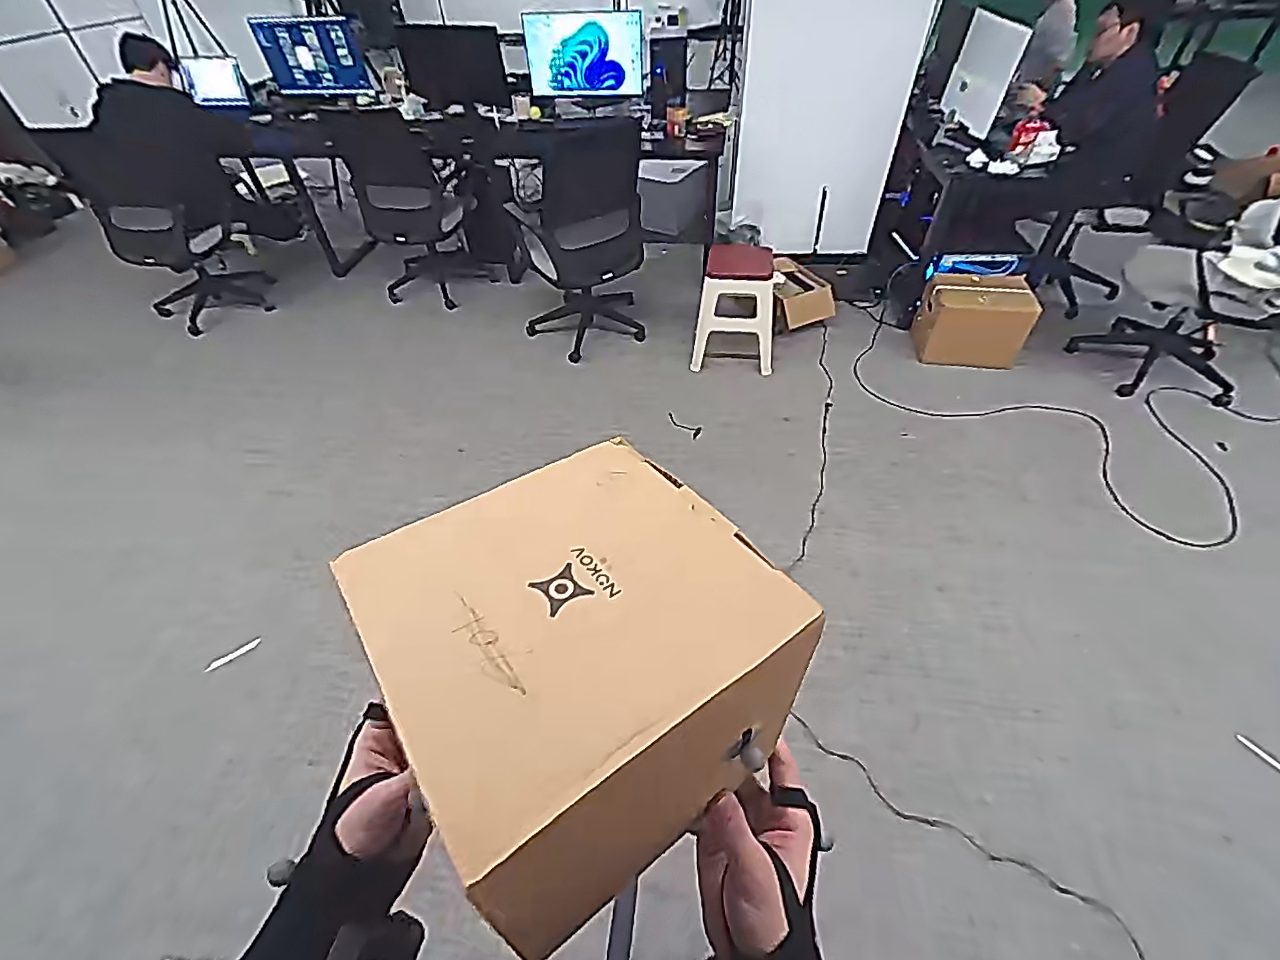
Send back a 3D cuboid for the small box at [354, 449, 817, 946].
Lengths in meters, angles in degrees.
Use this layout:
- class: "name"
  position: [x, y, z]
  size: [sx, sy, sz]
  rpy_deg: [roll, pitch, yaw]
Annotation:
- class: "small box"
  position: [-0.031, 0.116, 0.319]
  size: [0.179, 0.176, 0.168]
  rpy_deg: [-27, 47, -27]
